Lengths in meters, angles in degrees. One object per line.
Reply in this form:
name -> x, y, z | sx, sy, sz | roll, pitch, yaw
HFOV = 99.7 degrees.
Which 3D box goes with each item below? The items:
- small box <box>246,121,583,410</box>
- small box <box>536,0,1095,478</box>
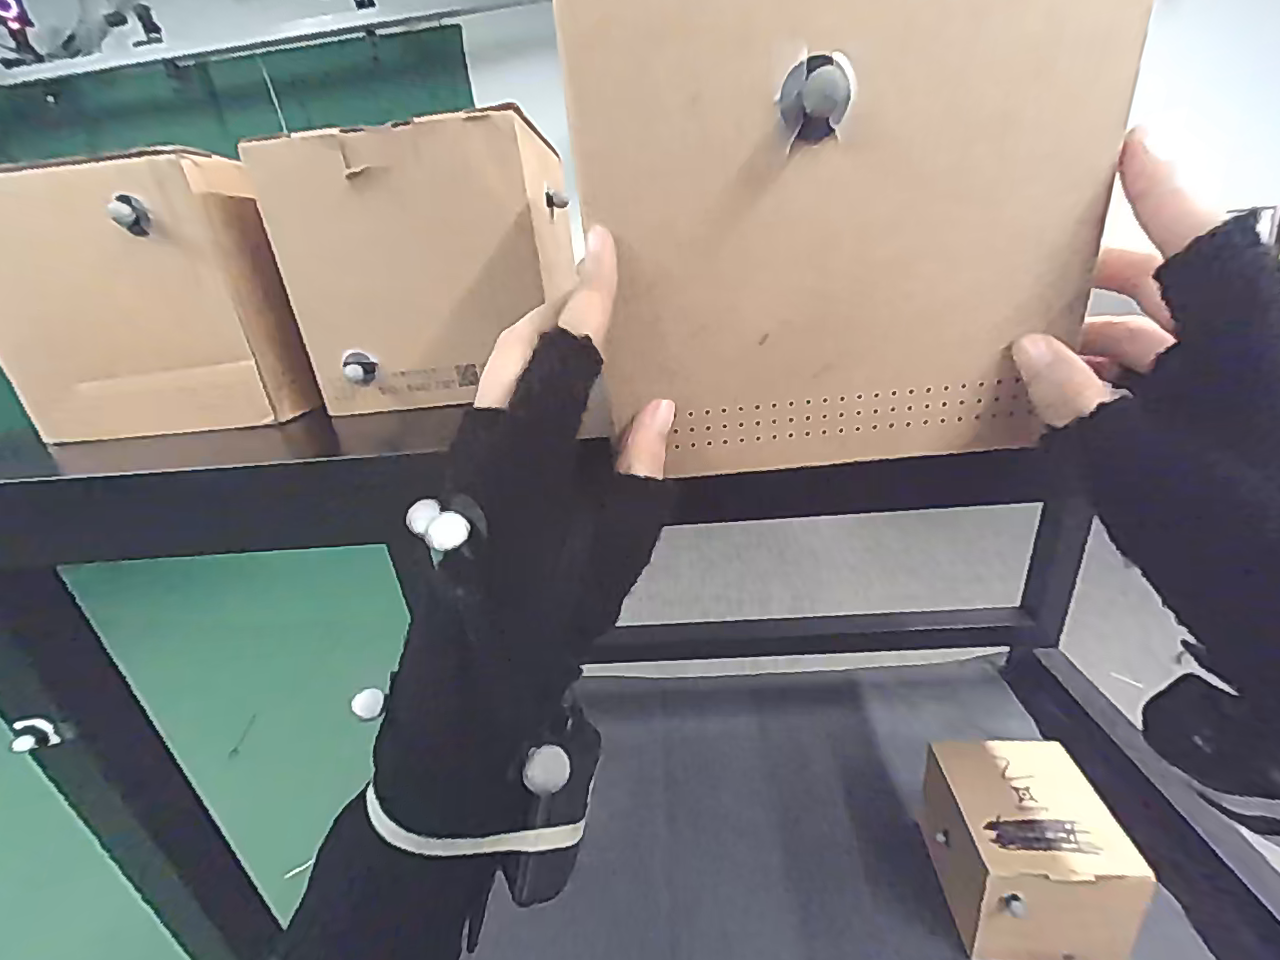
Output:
small box -> -0.143, -0.154, 0.421 | 0.168, 0.176, 0.179 | -4, 23, 3
small box -> 0.065, -0.108, 0.261 | 0.179, 0.176, 0.168 | -5, 24, 4
